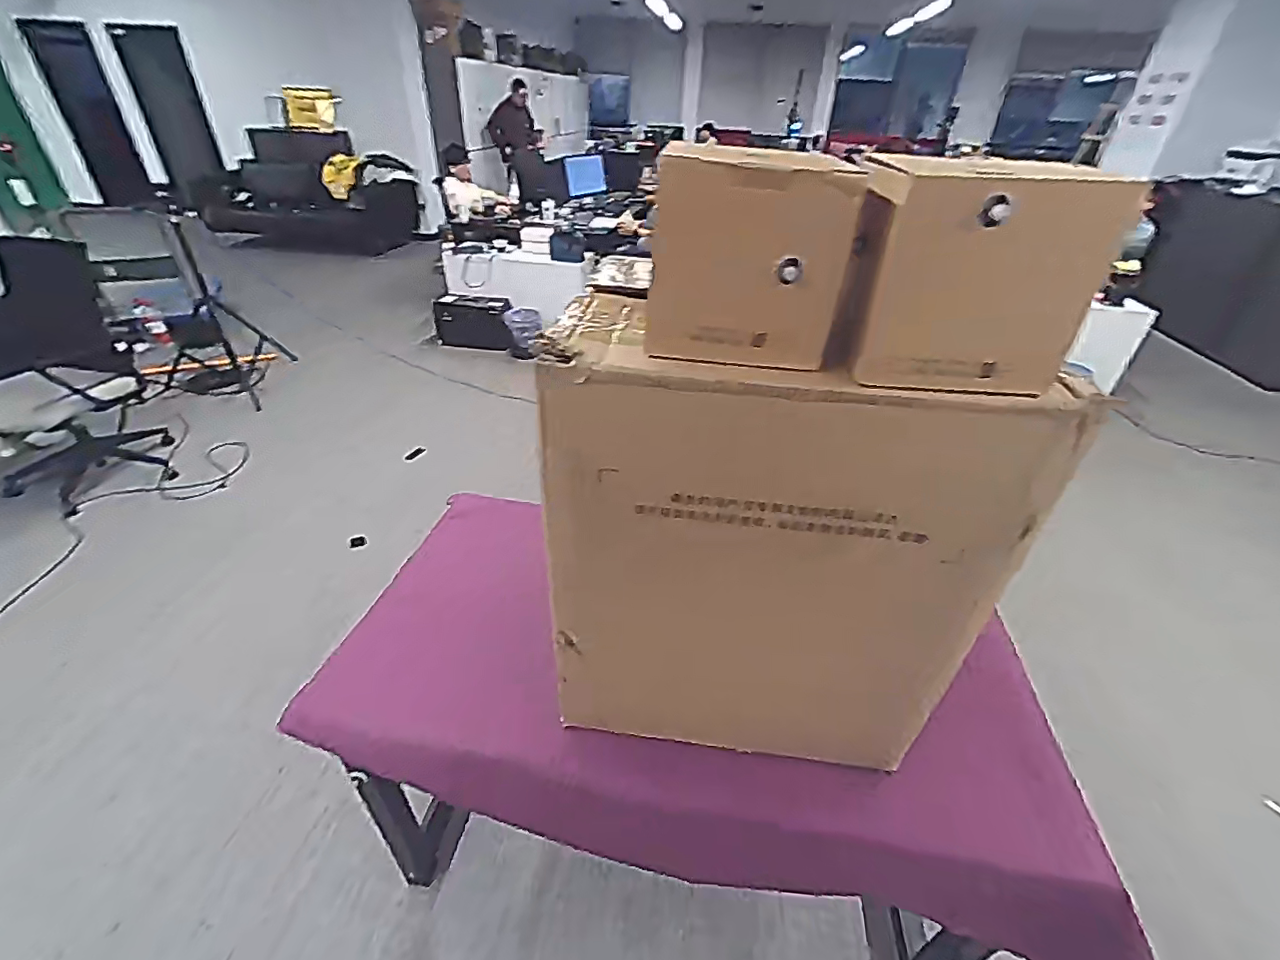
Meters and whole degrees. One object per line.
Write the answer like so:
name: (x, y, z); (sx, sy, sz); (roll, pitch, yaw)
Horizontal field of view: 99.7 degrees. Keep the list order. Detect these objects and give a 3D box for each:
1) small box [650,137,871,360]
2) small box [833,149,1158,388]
small box: (0.102, -0.229, 0.531); (0.168, 0.176, 0.179); (7, 34, 2)
small box: (0.289, -0.200, 0.497); (0.168, 0.176, 0.179); (5, 34, 5)
